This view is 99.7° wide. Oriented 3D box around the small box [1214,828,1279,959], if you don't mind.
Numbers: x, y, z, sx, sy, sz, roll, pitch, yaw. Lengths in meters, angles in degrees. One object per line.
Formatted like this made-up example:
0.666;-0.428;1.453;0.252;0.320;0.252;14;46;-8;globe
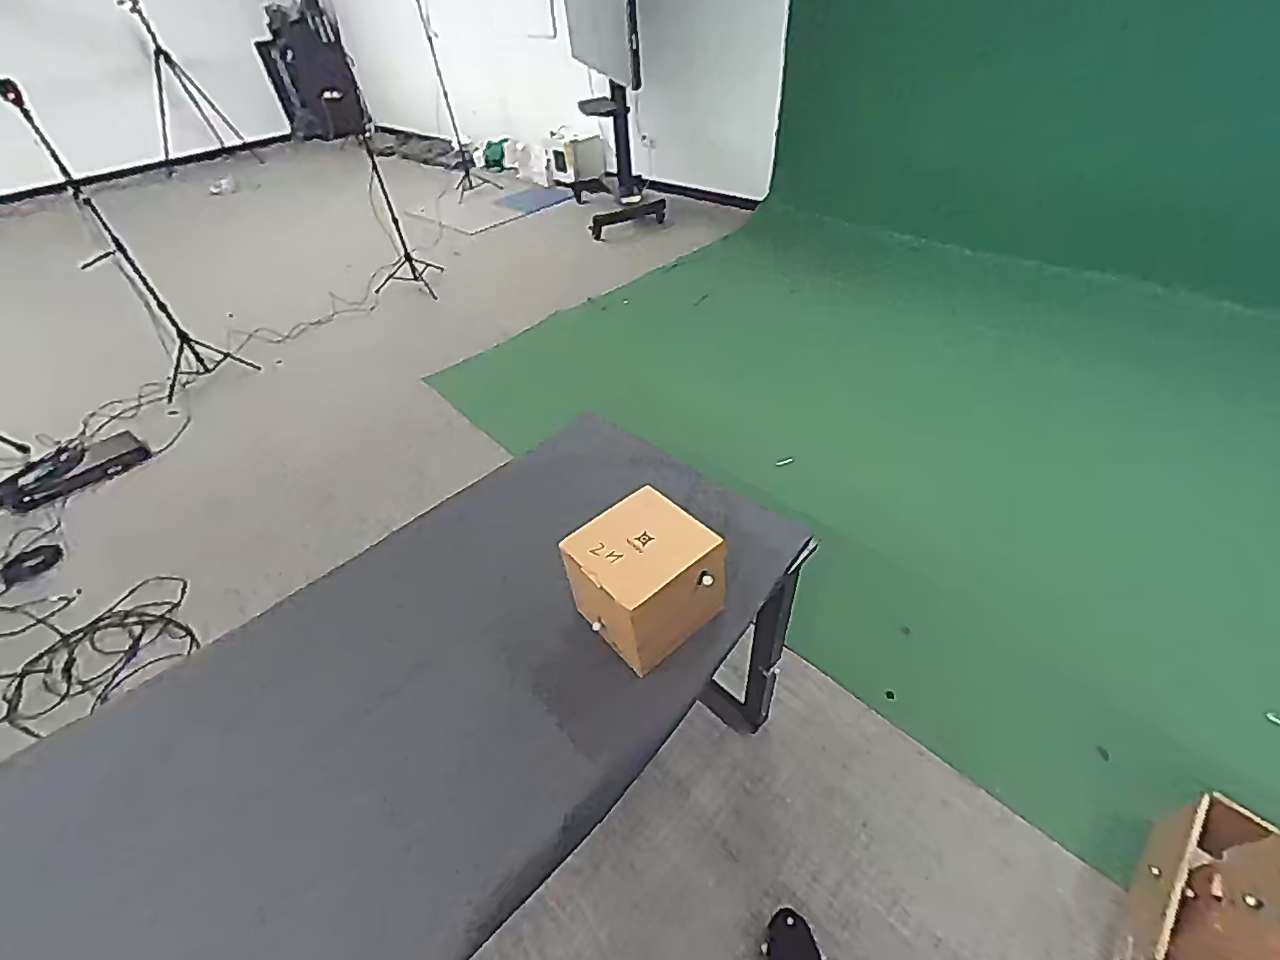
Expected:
1.091;0.712;0.872;0.179;0.176;0.168;28;54;26;small box

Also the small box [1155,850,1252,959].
1.105;0.831;0.985;0.168;0.176;0.179;-35;51;-26;small box

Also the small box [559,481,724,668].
0.006;0.139;0.809;0.179;0.176;0.168;-33;48;-25;small box
